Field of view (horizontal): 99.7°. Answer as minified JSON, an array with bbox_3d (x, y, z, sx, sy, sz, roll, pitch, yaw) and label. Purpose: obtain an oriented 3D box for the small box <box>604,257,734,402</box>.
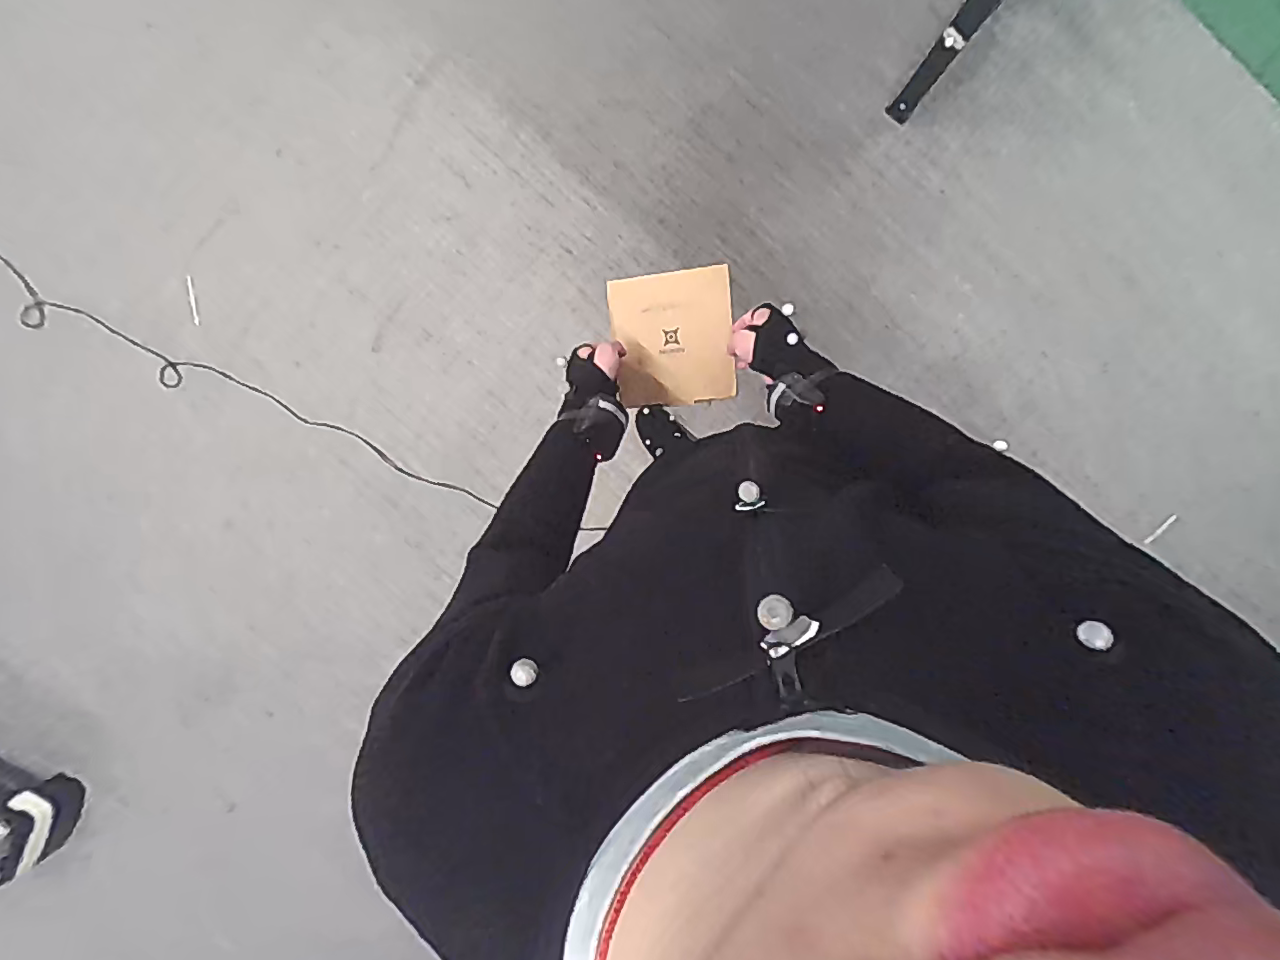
[{"bbox_3d":[0.052,-0.218,0.802,0.168,0.176,0.179,-4,103,10],"label":"small box"}]
